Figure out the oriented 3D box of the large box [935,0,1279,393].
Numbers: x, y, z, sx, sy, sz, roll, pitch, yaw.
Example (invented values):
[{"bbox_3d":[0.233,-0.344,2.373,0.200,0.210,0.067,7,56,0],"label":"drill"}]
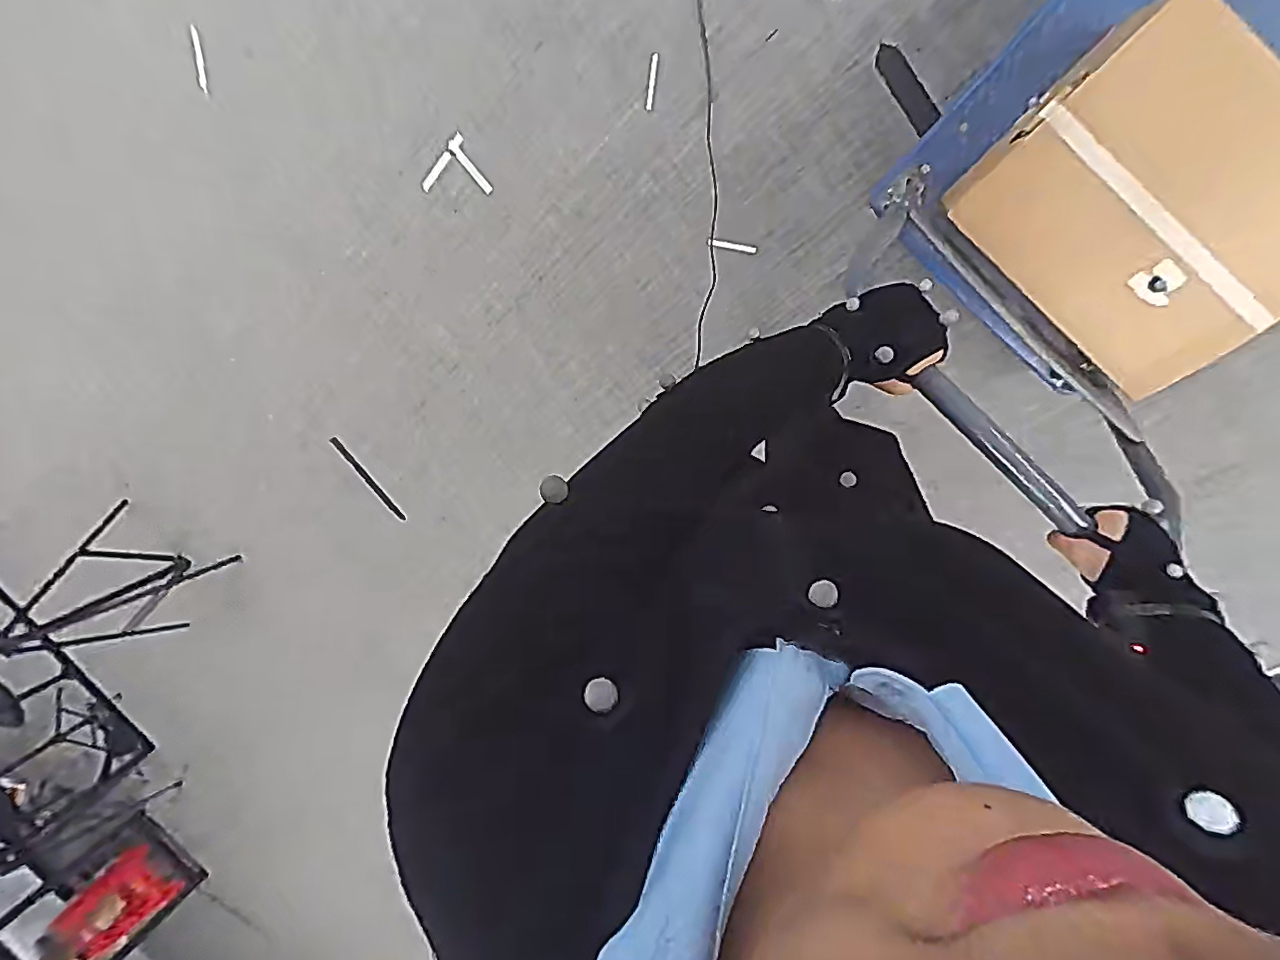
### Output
[{"bbox_3d":[0.735,-0.417,0.837,0.408,0.320,0.320,43,128,-3],"label":"large box"}]
